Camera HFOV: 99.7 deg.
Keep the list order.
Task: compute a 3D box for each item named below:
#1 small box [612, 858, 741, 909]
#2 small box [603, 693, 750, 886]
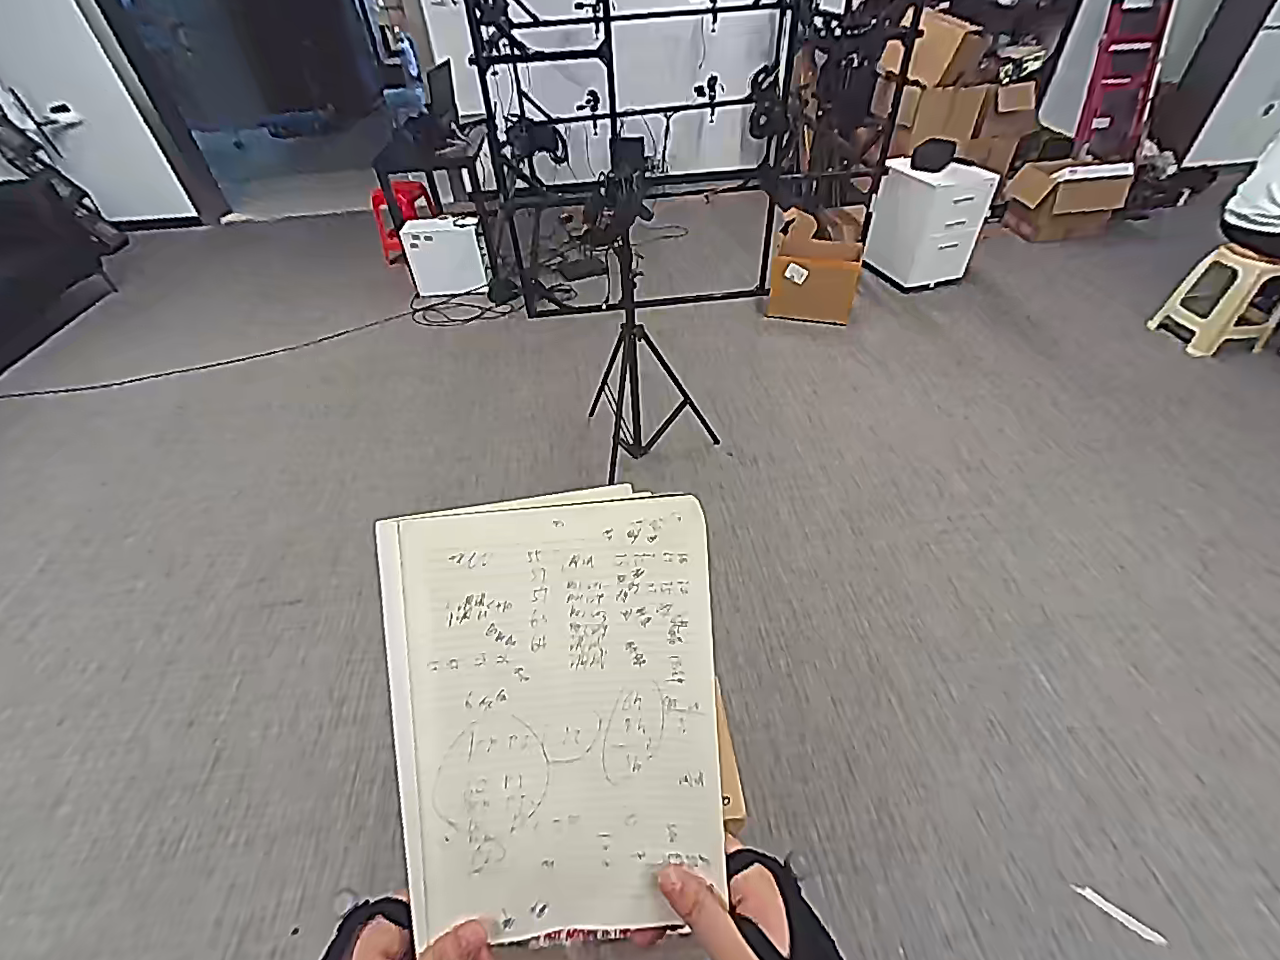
[{"bbox_3d":[0.041,0.534,0.830,0.179,0.176,0.168,-7,45,-5],"label":"small box"},{"bbox_3d":[0.036,0.411,0.721,0.168,0.176,0.179,-4,44,-4],"label":"small box"}]
